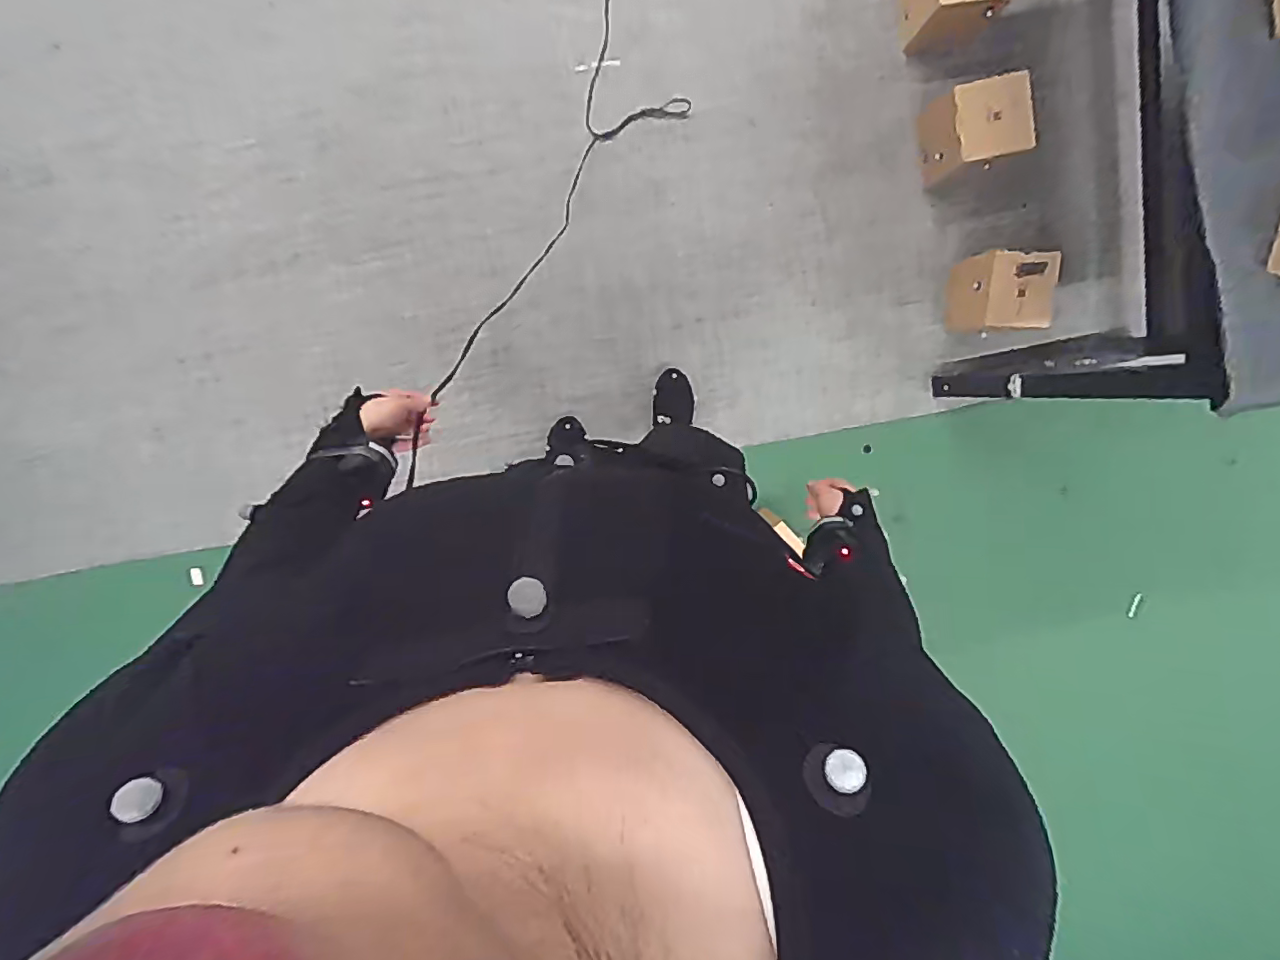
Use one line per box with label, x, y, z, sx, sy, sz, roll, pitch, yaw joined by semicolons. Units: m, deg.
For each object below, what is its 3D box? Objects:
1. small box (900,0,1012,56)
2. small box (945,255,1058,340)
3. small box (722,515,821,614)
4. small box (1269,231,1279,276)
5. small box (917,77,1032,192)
small box;0.725;-1.130;1.259;0.179;0.176;0.168;-7;99;-2
small box;0.903;-0.455;1.368;0.168;0.176;0.179;2;100;-2
small box;0.345;0.217;1.450;0.168;0.176;0.179;-42;99;4
small box;0.943;-0.330;0.649;0.179;0.176;0.168;9;98;-6
small box;0.797;-0.824;1.308;0.179;0.176;0.168;-14;100;-1
